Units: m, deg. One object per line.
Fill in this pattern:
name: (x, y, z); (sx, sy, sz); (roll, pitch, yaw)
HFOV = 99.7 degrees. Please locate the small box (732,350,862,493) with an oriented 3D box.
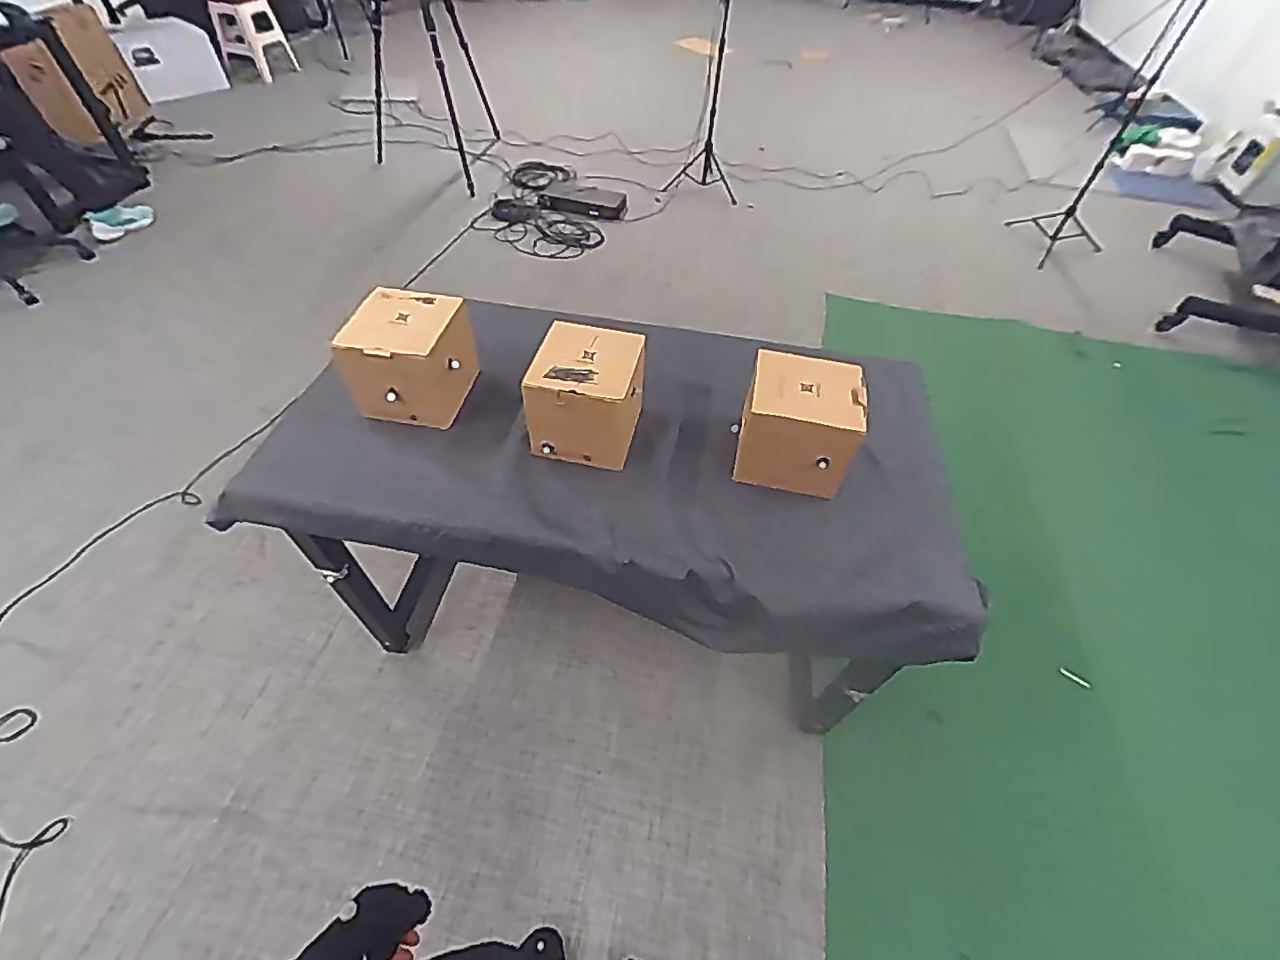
small box: (0.265, -0.096, 0.932); (0.179, 0.176, 0.168); (9, 50, 7)

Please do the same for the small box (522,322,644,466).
small box: (-0.091, -0.148, 0.954); (0.168, 0.176, 0.179); (11, 51, 6)

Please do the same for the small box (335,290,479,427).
small box: (-0.412, -0.220, 0.996); (0.168, 0.176, 0.179); (8, 52, 4)
